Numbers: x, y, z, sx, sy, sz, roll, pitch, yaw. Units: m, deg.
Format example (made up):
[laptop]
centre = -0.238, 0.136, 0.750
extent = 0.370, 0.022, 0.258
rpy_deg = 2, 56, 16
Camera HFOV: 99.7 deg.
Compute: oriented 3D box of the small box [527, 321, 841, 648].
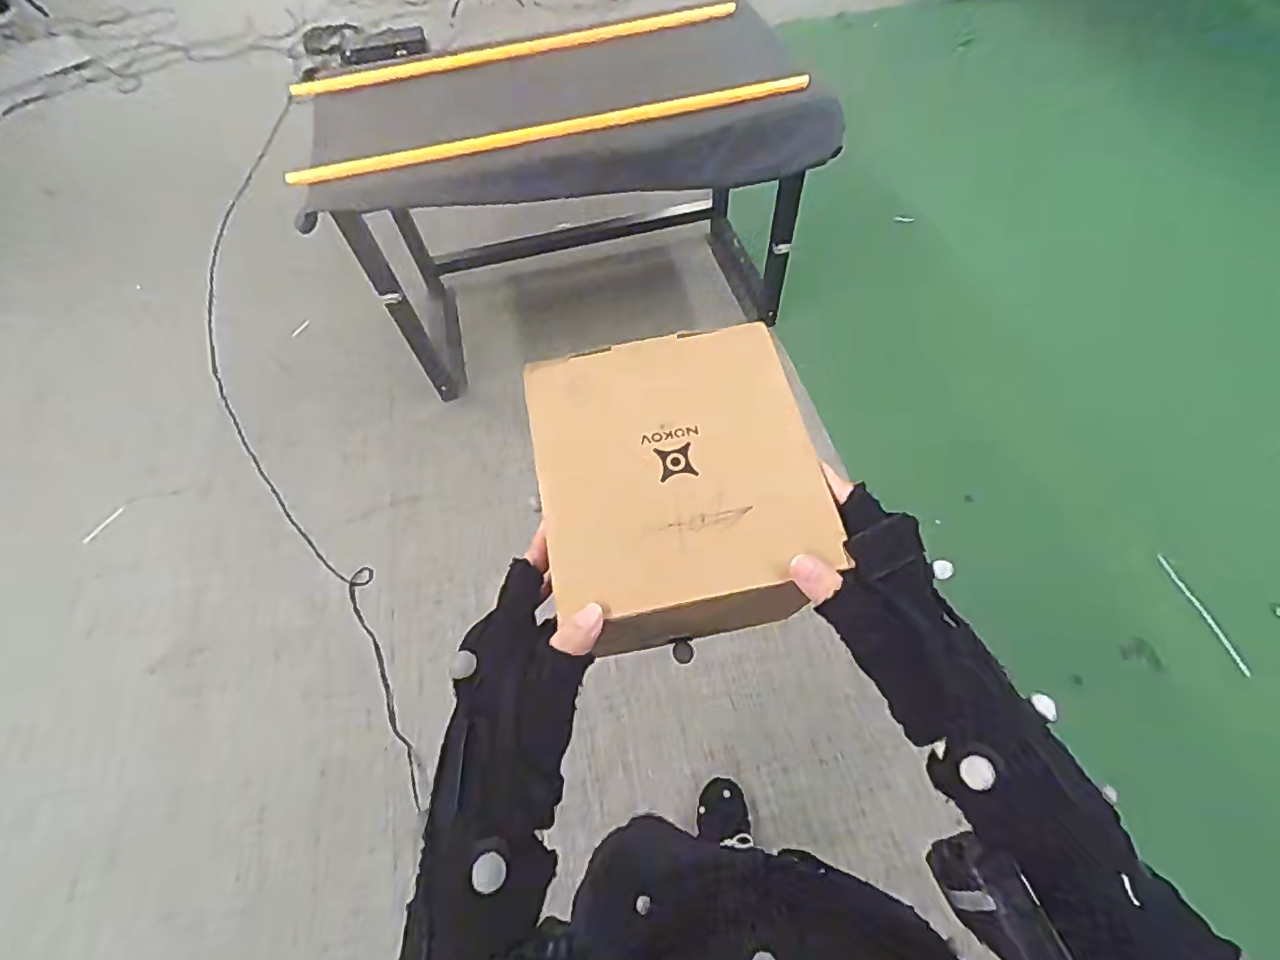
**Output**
[small box]
centre = 0.020, 0.014, 0.406
extent = 0.168, 0.176, 0.179
rpy_deg = -11, 66, -3
